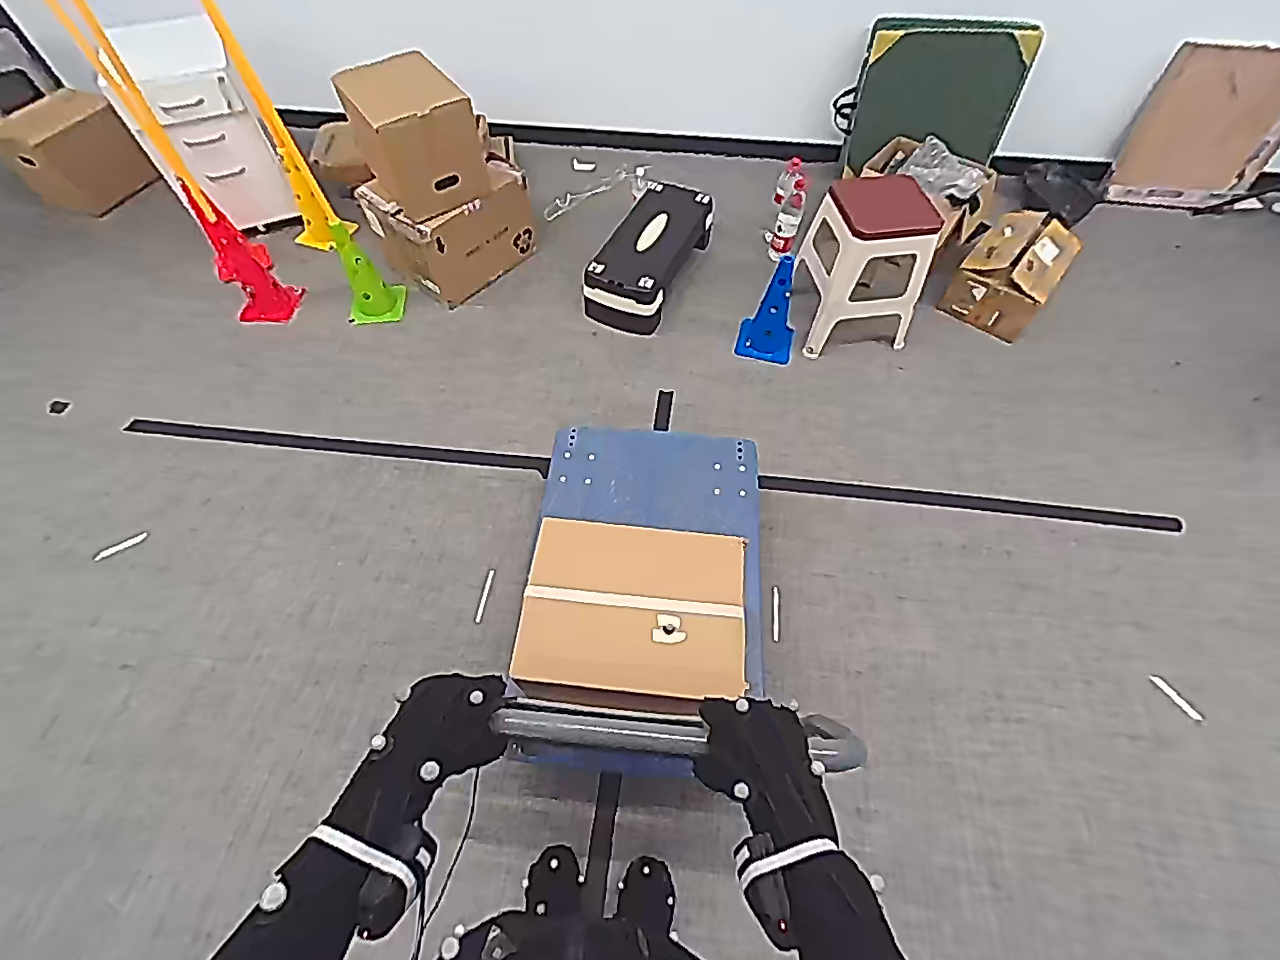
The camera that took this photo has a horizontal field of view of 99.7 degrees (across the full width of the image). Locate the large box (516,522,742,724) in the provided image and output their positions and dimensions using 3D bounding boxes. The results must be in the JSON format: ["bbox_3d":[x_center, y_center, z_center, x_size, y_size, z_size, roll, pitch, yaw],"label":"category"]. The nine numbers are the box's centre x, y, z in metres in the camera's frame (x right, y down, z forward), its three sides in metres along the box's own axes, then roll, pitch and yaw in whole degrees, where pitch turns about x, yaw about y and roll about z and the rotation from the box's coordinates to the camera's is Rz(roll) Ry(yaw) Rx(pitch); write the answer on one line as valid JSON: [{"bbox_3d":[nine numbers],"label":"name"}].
[{"bbox_3d":[-0.015,0.310,1.141,0.408,0.320,0.320,6,58,1],"label":"large box"}]
